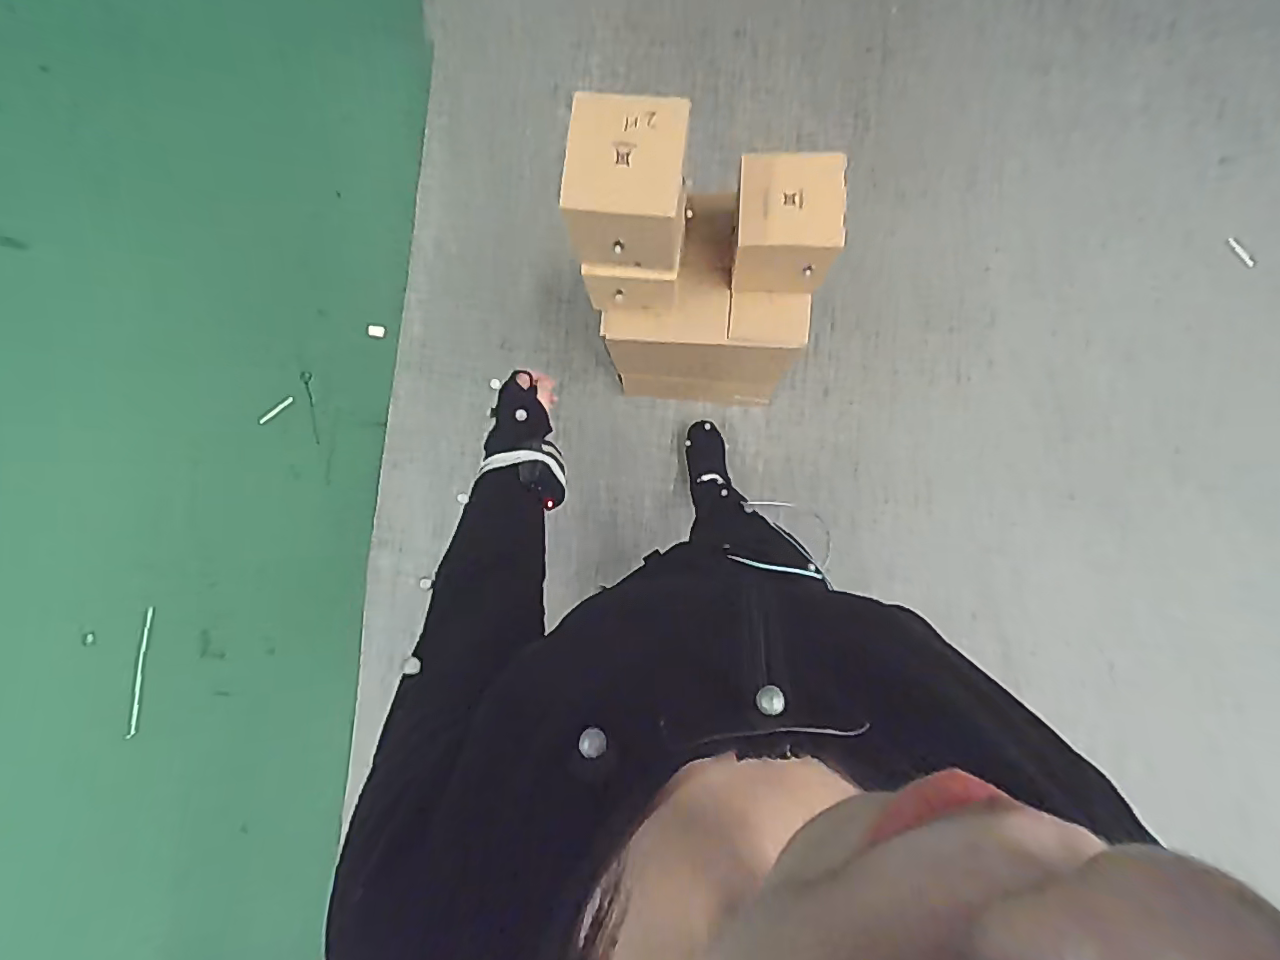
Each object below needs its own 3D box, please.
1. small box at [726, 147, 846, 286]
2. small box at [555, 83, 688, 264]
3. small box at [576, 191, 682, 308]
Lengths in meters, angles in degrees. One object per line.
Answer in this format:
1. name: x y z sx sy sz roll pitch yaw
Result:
1. small box: 0.254 -0.465 0.975 0.179 0.176 0.168 4 85 5
2. small box: -0.021 -0.453 0.825 0.168 0.176 0.179 8 87 3
3. small box: -0.013 -0.431 0.988 0.168 0.176 0.179 6 87 3
